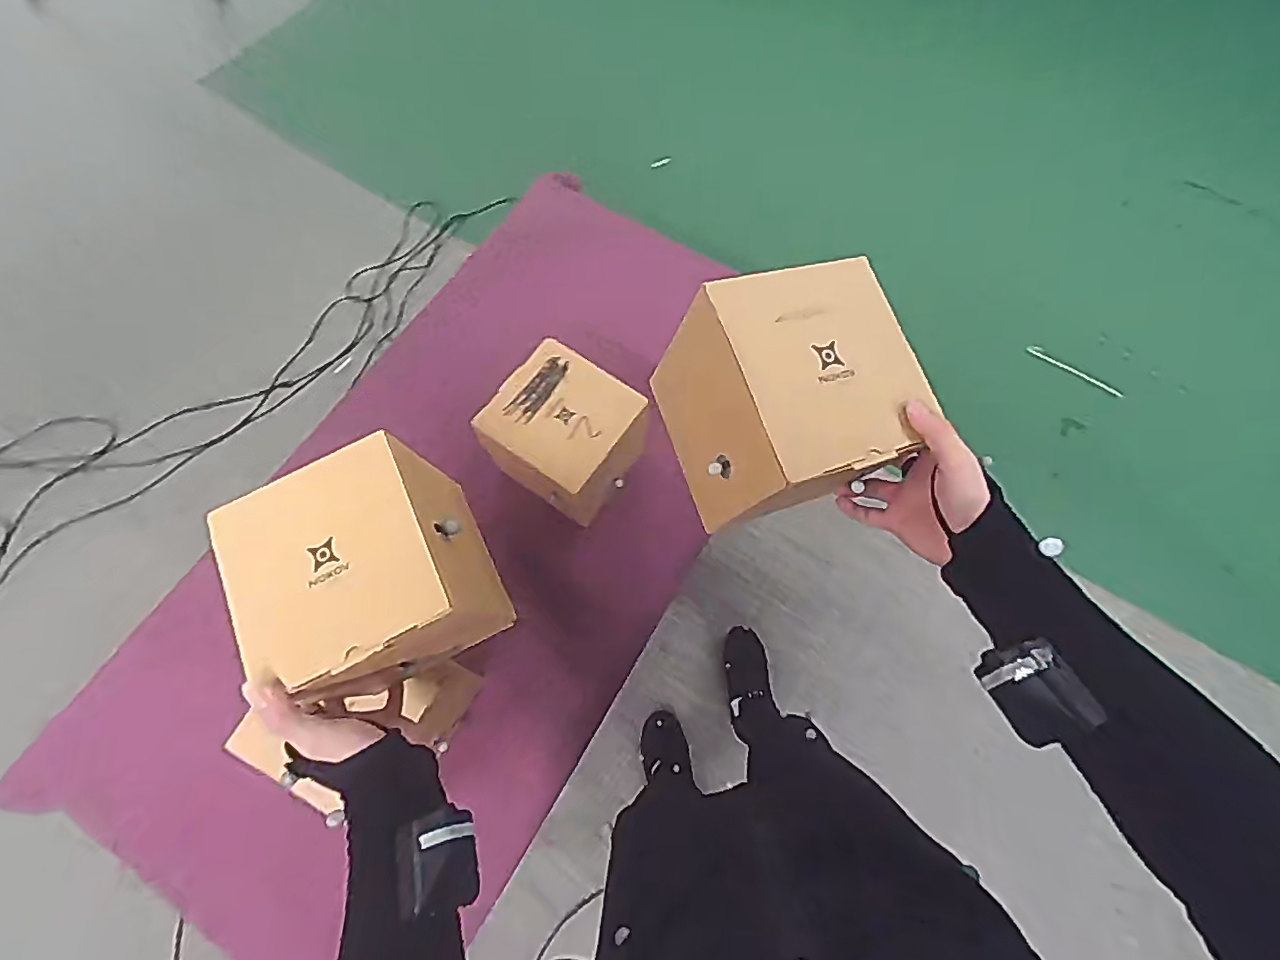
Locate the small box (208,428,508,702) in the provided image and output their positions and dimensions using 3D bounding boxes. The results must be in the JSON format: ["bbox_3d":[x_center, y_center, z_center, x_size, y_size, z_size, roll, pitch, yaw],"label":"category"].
[{"bbox_3d":[-0.247,0.085,0.507,0.168,0.176,0.179,-26,73,-4],"label":"small box"}]

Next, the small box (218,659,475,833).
[{"bbox_3d":[-0.333,0.280,0.654,0.179,0.176,0.168,27,72,9],"label":"small box"}]

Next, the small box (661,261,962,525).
[{"bbox_3d":[0.136,-0.066,0.494,0.168,0.176,0.179,-14,76,-19],"label":"small box"}]
